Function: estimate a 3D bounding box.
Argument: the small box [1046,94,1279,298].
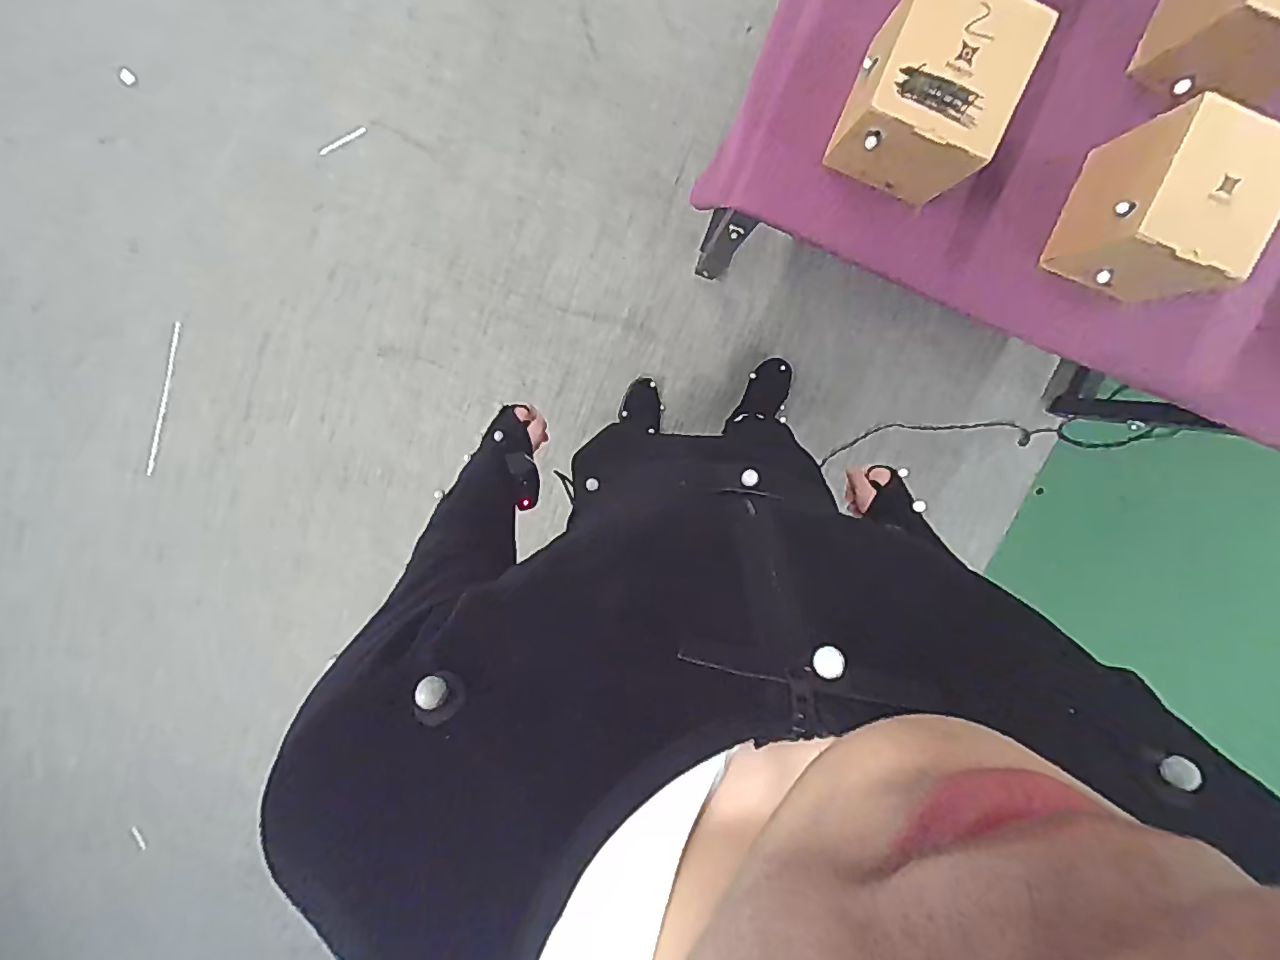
[{"bbox_3d":[0.720,-0.372,0.745,0.168,0.176,0.179,20,100,-5],"label":"small box"}]

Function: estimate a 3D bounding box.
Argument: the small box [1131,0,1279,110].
[{"bbox_3d":[0.807,-0.621,0.698,0.168,0.176,0.179,21,101,-4],"label":"small box"}]
